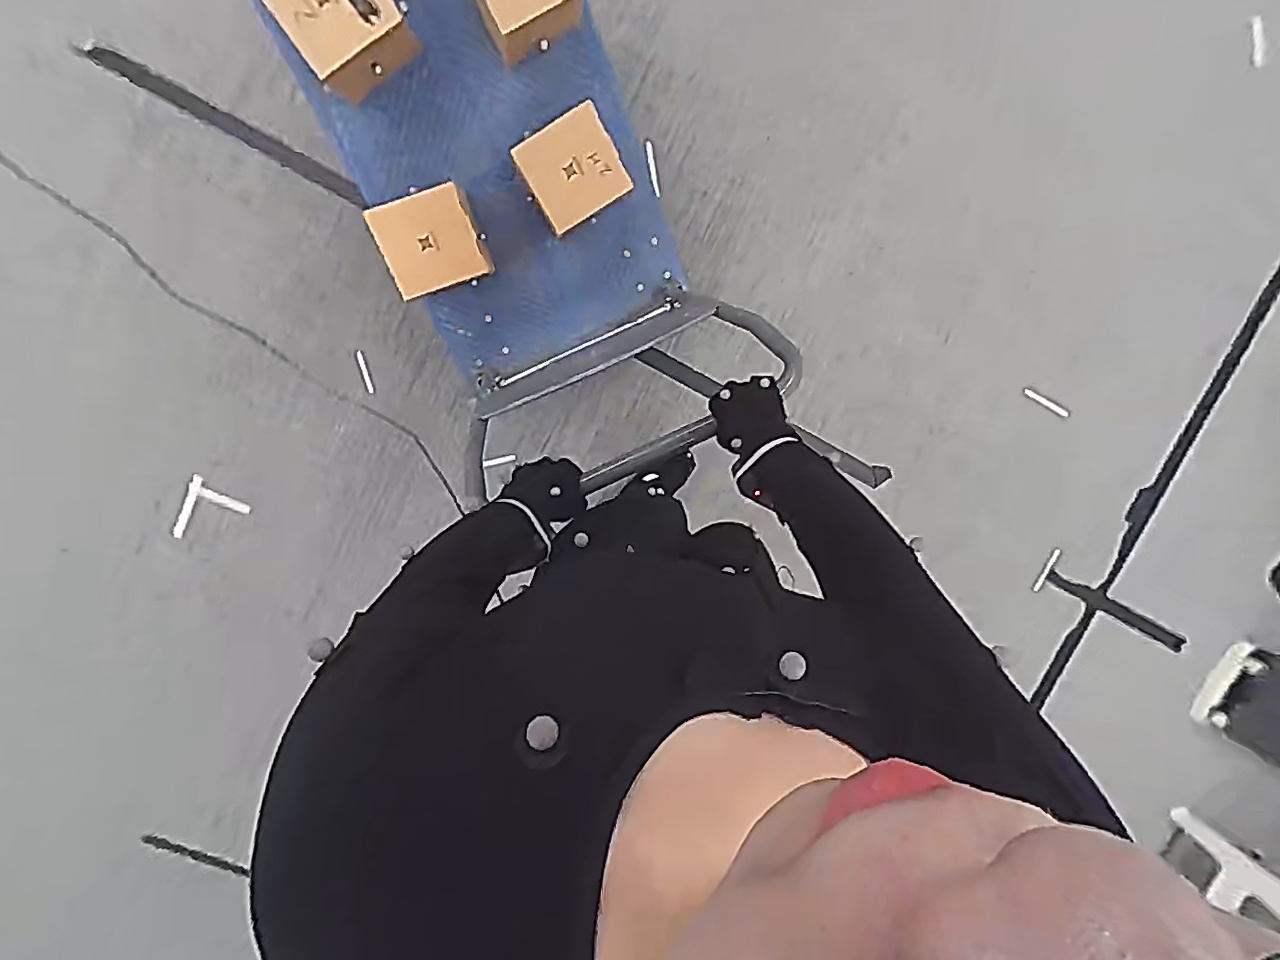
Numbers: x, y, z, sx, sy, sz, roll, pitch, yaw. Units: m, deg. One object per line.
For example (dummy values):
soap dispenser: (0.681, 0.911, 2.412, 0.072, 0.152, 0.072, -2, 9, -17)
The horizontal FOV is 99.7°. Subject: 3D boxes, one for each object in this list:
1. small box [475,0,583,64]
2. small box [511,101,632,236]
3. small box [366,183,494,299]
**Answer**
small box: (-0.216, -0.898, 0.964, 0.168, 0.176, 0.179, -28, 114, 2)
small box: (-0.137, -0.613, 1.090, 0.179, 0.176, 0.168, -31, 113, 3)
small box: (-0.413, -0.475, 1.096, 0.179, 0.176, 0.168, -21, 113, -3)
